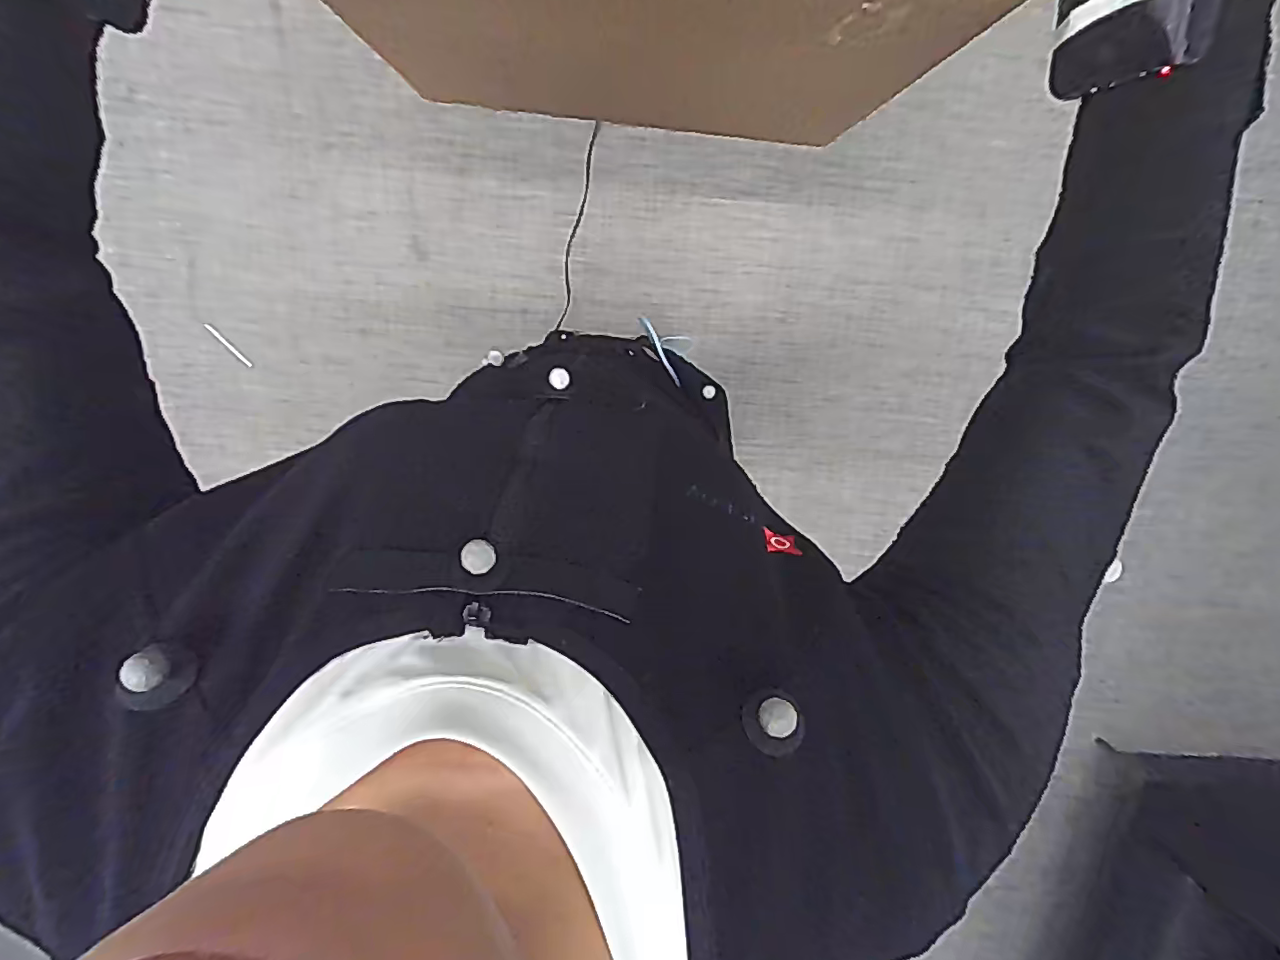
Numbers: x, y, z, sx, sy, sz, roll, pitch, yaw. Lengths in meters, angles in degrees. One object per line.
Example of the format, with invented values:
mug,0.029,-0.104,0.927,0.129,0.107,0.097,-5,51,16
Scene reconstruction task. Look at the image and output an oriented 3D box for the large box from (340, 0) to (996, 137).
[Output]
large box,0.009,-0.451,0.348,0.408,0.320,0.320,4,109,-3
